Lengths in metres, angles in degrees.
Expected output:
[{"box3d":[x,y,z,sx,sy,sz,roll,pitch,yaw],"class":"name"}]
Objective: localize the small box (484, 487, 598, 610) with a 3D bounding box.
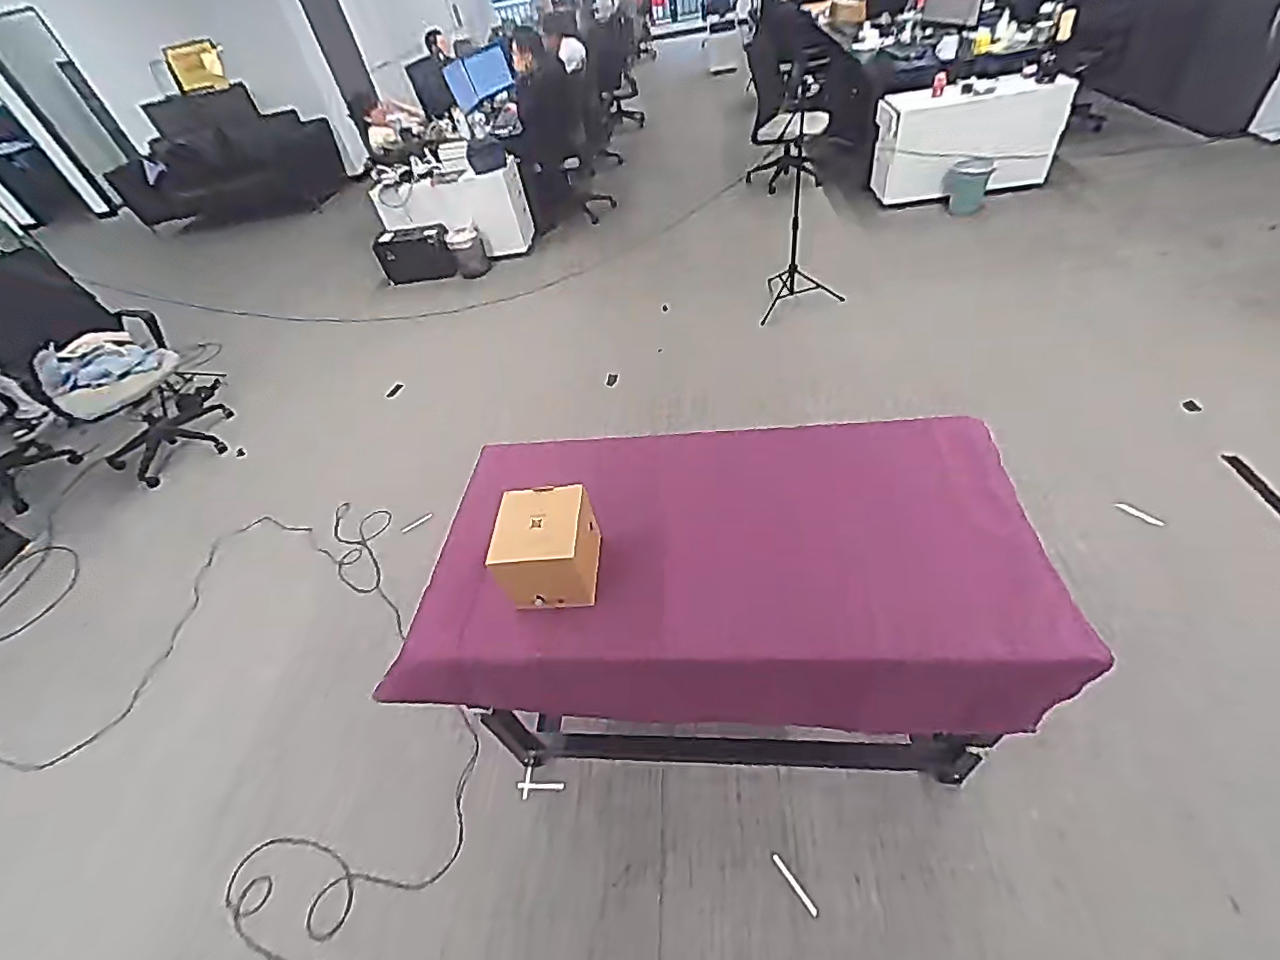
[{"box3d":[-0.182,0.136,1.063,0.168,0.176,0.179,-4,46,8],"class":"small box"}]
